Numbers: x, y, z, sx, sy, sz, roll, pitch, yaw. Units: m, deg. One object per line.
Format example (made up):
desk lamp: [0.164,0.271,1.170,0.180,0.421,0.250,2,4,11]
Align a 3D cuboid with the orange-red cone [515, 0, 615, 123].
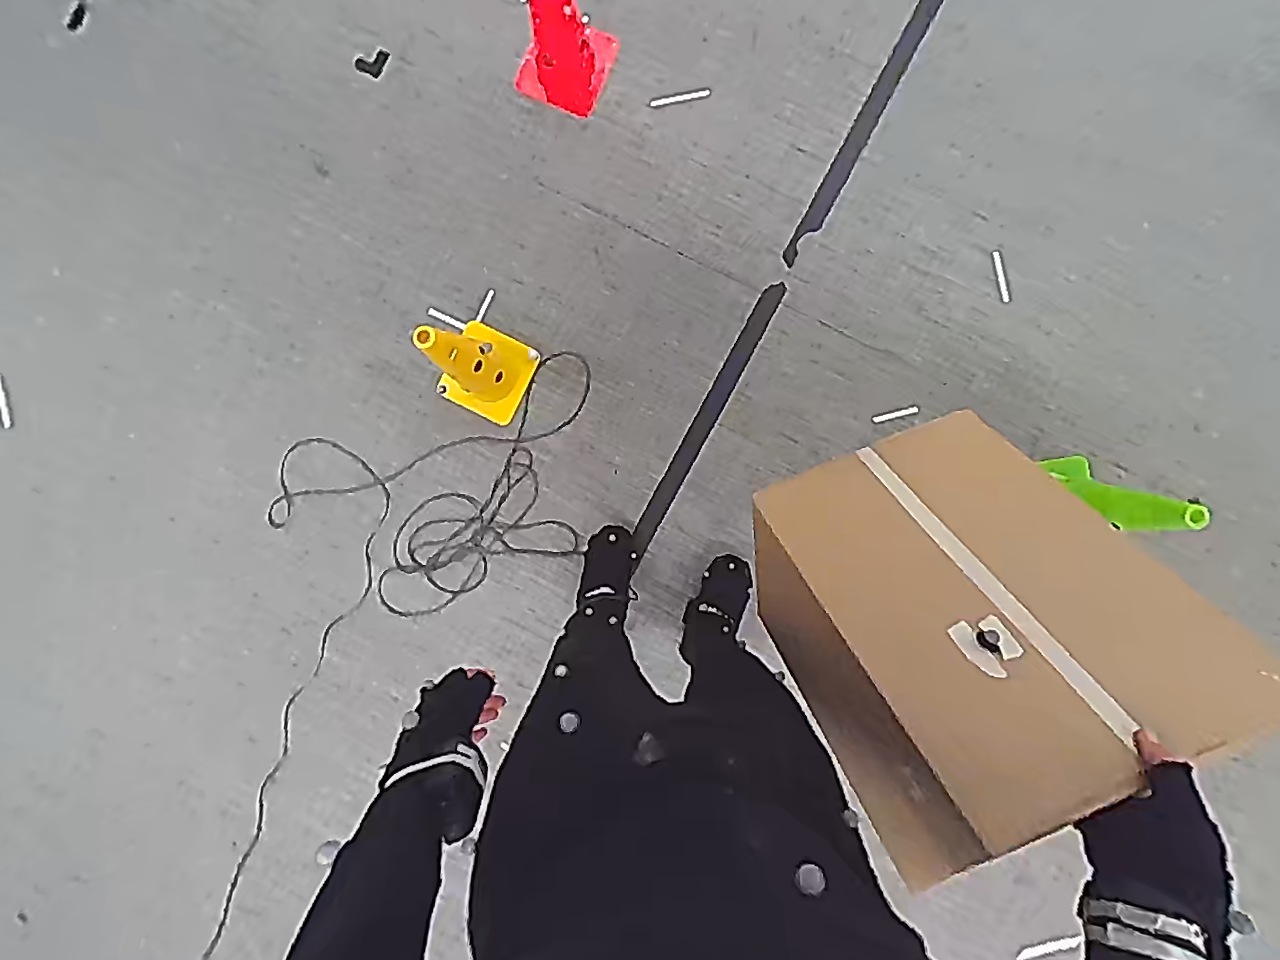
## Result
orange-red cone: [-0.191,-0.968,1.119,0.198,0.360,0.199,25,93,3]

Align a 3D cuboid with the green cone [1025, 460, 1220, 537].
green cone: [0.943,0.070,1.075,0.202,0.368,0.200,-10,91,2]

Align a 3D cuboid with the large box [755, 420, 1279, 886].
large box: [0.373,0.200,0.675,0.320,0.320,0.408,-22,48,-5]
